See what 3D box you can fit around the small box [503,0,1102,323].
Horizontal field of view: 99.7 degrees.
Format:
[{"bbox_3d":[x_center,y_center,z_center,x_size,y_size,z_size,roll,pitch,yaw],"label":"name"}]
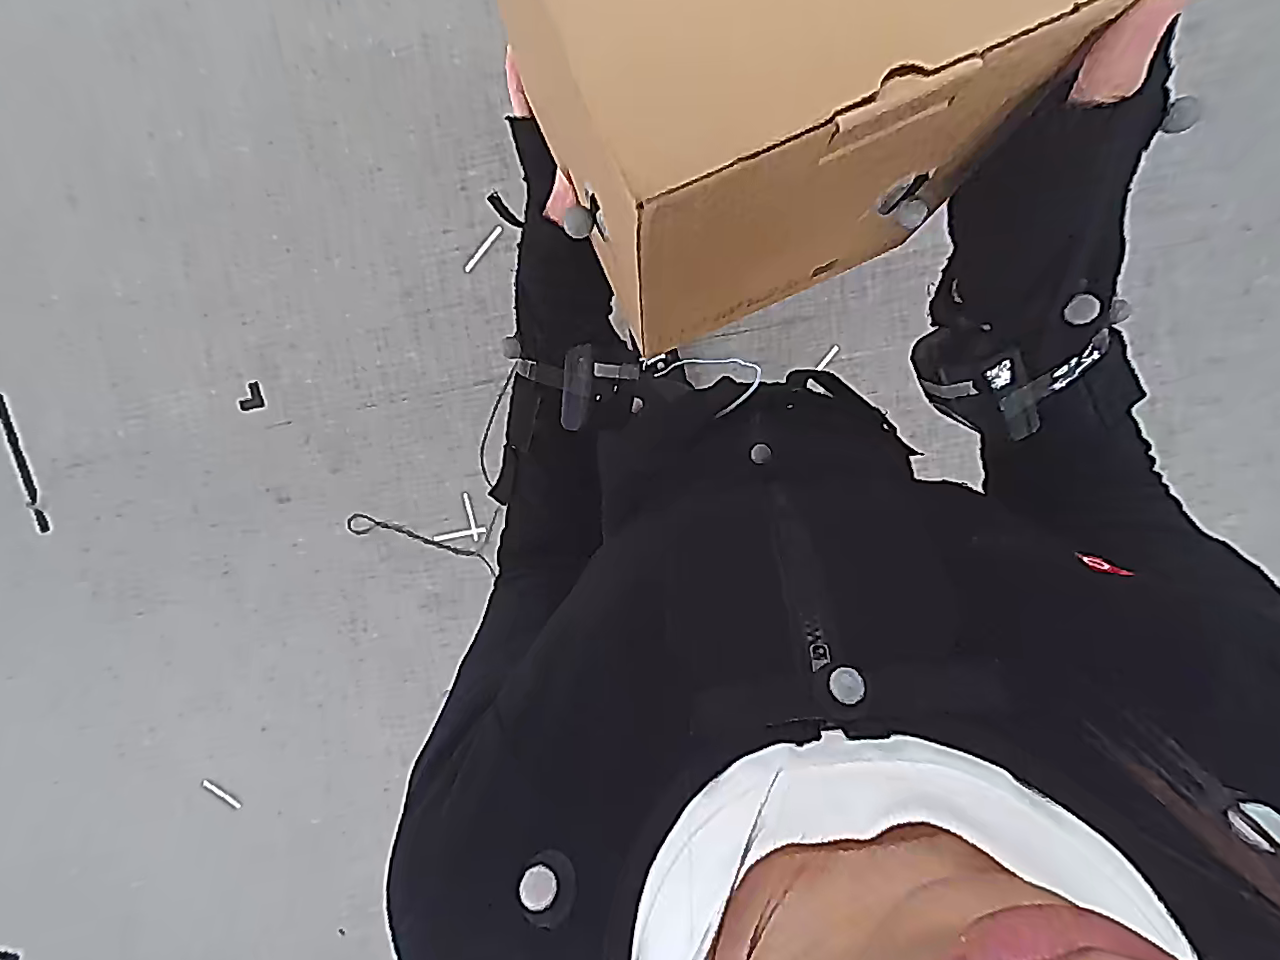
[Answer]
[{"bbox_3d":[0.040,-0.193,0.250,0.168,0.176,0.179,-24,87,0],"label":"small box"}]
